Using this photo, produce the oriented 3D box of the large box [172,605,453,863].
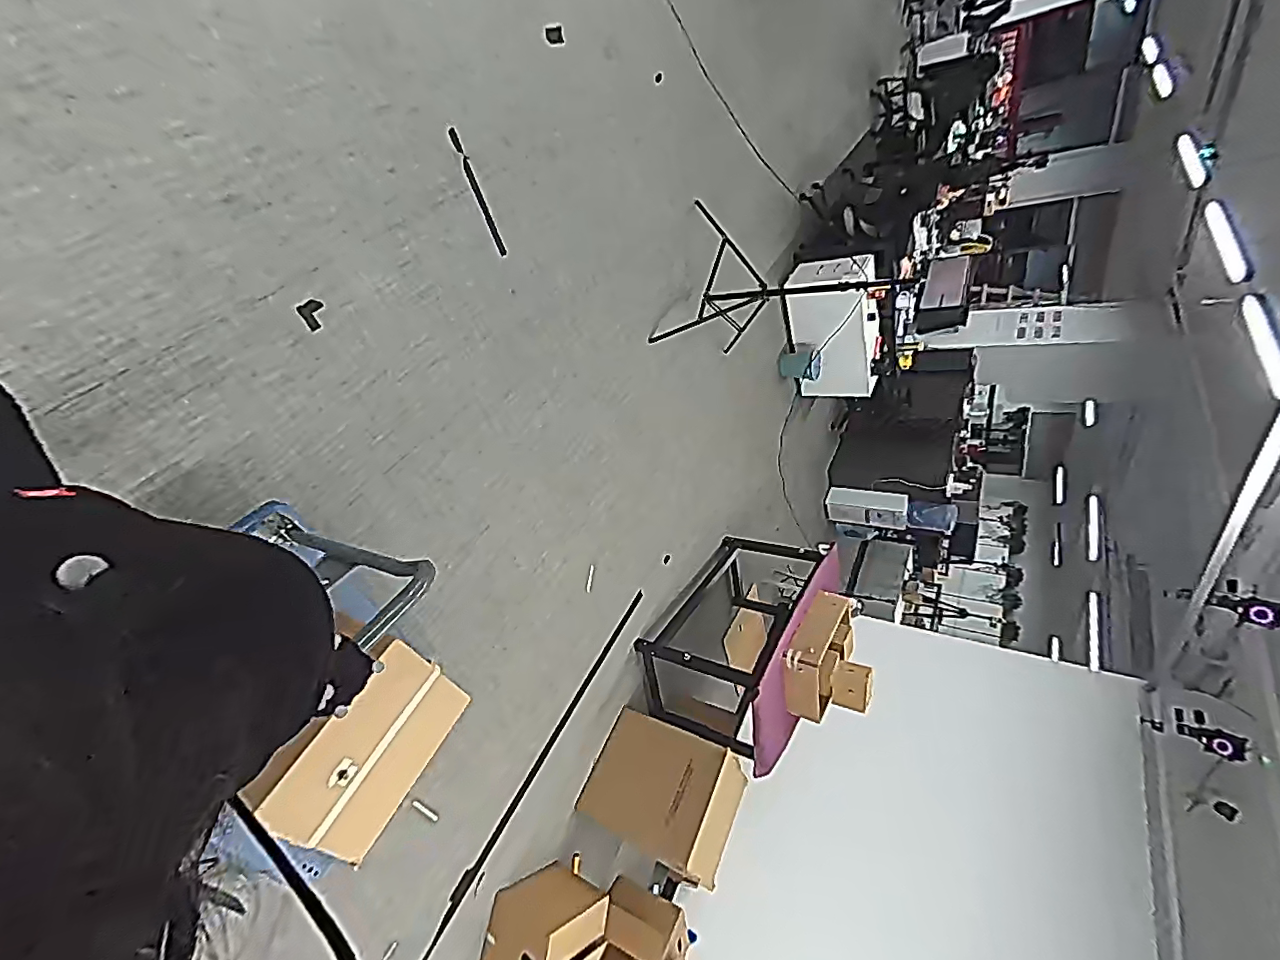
[{"bbox_3d":[-0.735,0.568,1.261,0.408,0.320,0.320,-57,138,-33],"label":"large box"}]
